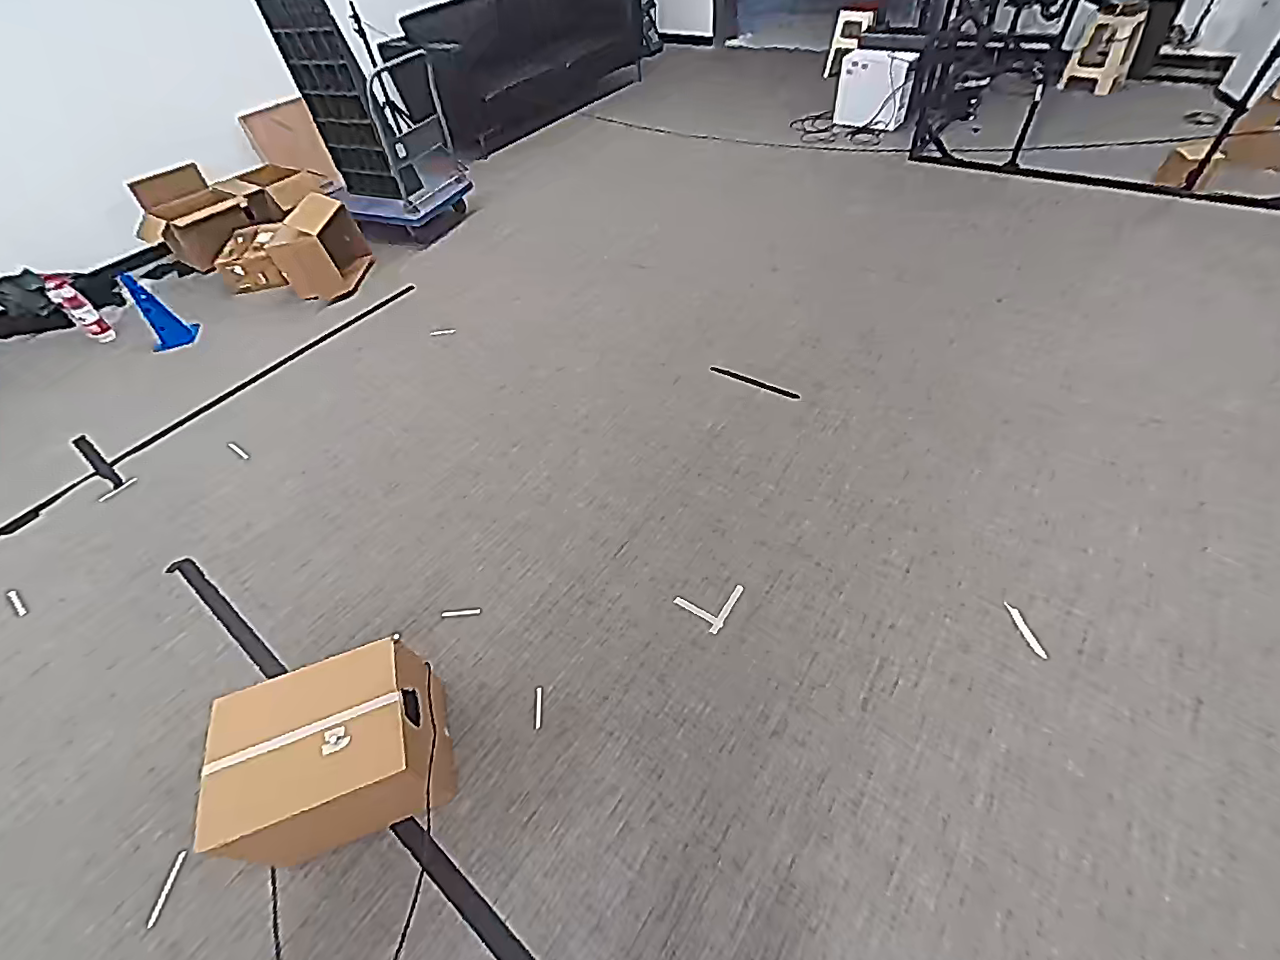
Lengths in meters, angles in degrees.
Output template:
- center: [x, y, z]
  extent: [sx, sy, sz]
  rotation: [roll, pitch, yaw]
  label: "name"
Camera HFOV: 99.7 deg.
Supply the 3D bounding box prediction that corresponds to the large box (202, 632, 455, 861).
- center: [-0.698, 0.626, 1.272]
  extent: [0.408, 0.320, 0.320]
  rotation: [-18, 52, -10]
  label: "large box"
